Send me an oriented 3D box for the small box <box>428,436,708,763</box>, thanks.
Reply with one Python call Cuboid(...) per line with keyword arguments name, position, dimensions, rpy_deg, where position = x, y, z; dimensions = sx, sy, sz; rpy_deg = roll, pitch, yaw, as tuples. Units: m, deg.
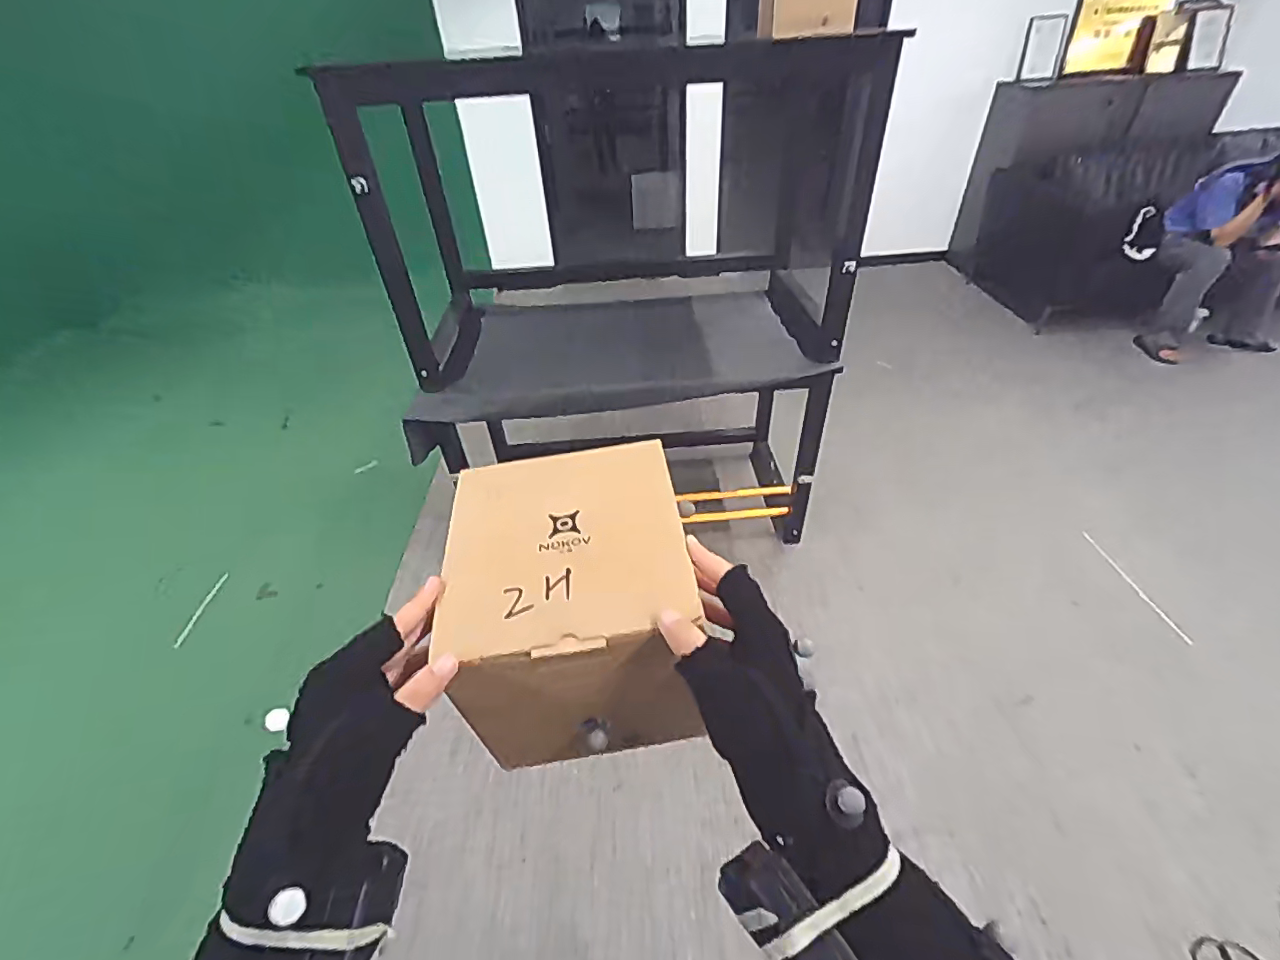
Cuboid(name="small box", position=(-0.044, 0.092, 0.428), dimensions=(0.168, 0.176, 0.179), rpy_deg=(-9, 42, -1))
